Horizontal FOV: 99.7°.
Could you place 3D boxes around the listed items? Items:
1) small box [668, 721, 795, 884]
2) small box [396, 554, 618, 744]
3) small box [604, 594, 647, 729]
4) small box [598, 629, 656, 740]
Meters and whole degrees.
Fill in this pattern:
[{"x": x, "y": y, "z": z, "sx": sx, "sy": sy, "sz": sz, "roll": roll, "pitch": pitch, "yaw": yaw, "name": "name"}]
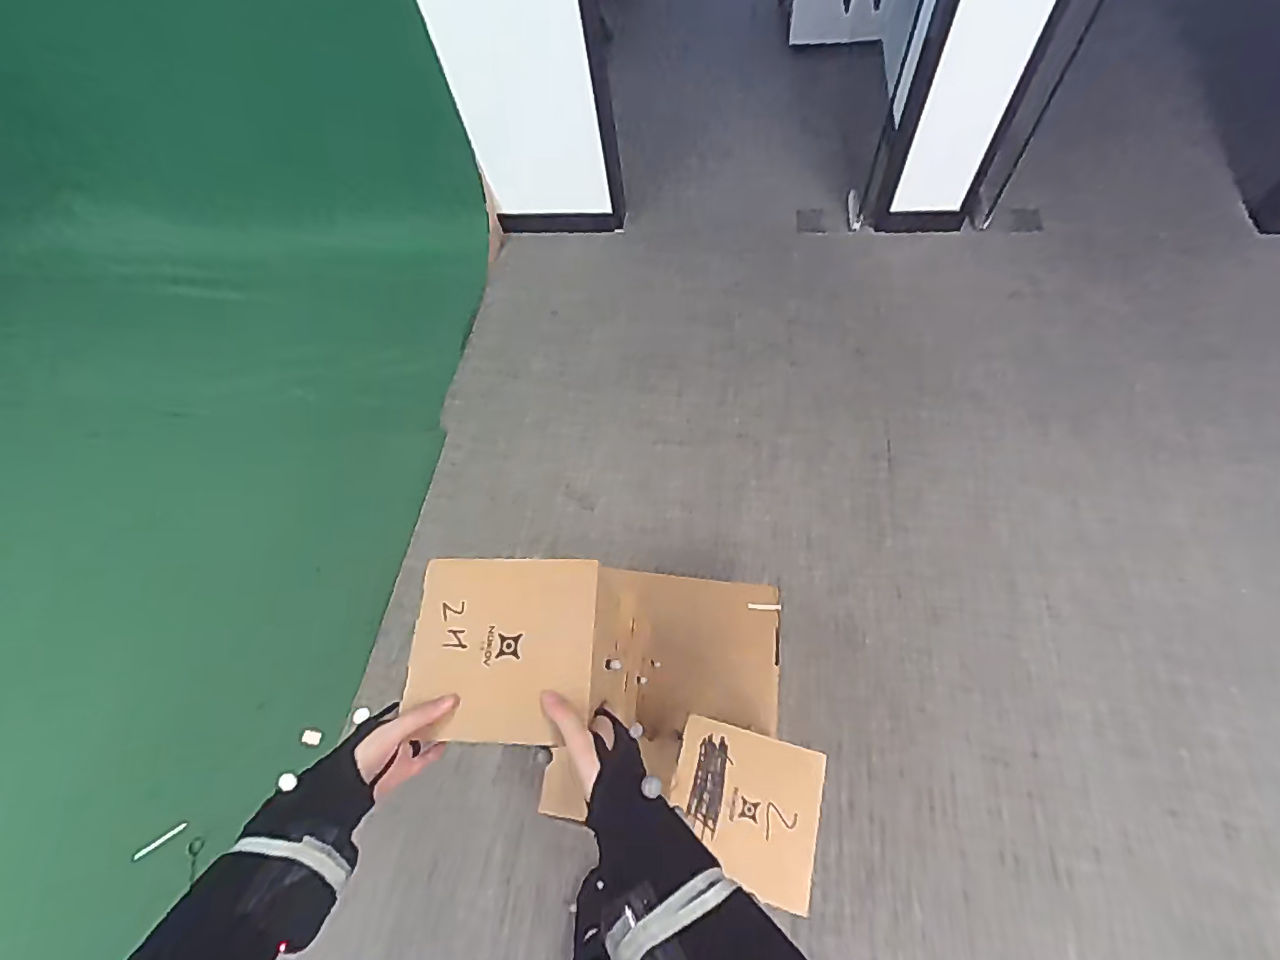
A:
[{"x": 0.141, "y": 0.498, "z": 0.850, "sx": 0.168, "sy": 0.176, "sz": 0.179, "roll": 8, "pitch": 62, "yaw": 10, "name": "small box"}, {"x": -0.121, "y": 0.185, "z": 0.581, "sx": 0.179, "sy": 0.176, "sz": 0.168, "roll": 1, "pitch": 64, "yaw": 7, "name": "small box"}, {"x": -0.091, "y": 0.273, "z": 0.818, "sx": 0.179, "sy": 0.176, "sz": 0.168, "roll": 3, "pitch": 60, "yaw": 8, "name": "small box"}, {"x": -0.068, "y": 0.357, "z": 0.956, "sx": 0.179, "sy": 0.176, "sz": 0.168, "roll": 2, "pitch": 60, "yaw": 9, "name": "small box"}]
